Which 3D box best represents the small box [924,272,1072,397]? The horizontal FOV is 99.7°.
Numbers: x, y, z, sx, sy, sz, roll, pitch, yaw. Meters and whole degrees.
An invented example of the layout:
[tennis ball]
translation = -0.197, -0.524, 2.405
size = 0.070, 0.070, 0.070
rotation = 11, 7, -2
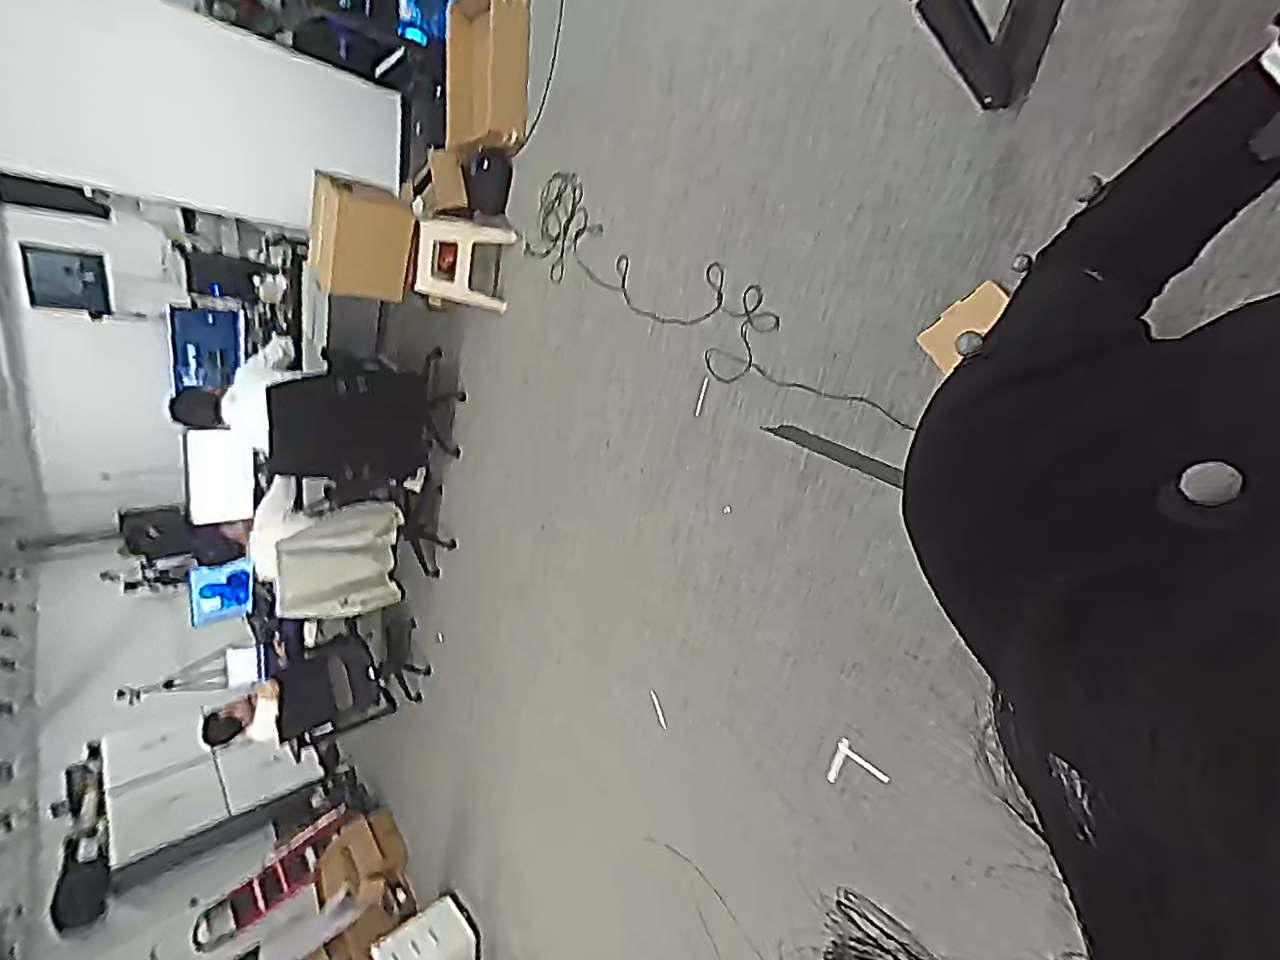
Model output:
[small box]
translation = 0.716, -0.280, 1.083
size = 0.168, 0.176, 0.179
rotation = -45, 65, 40
